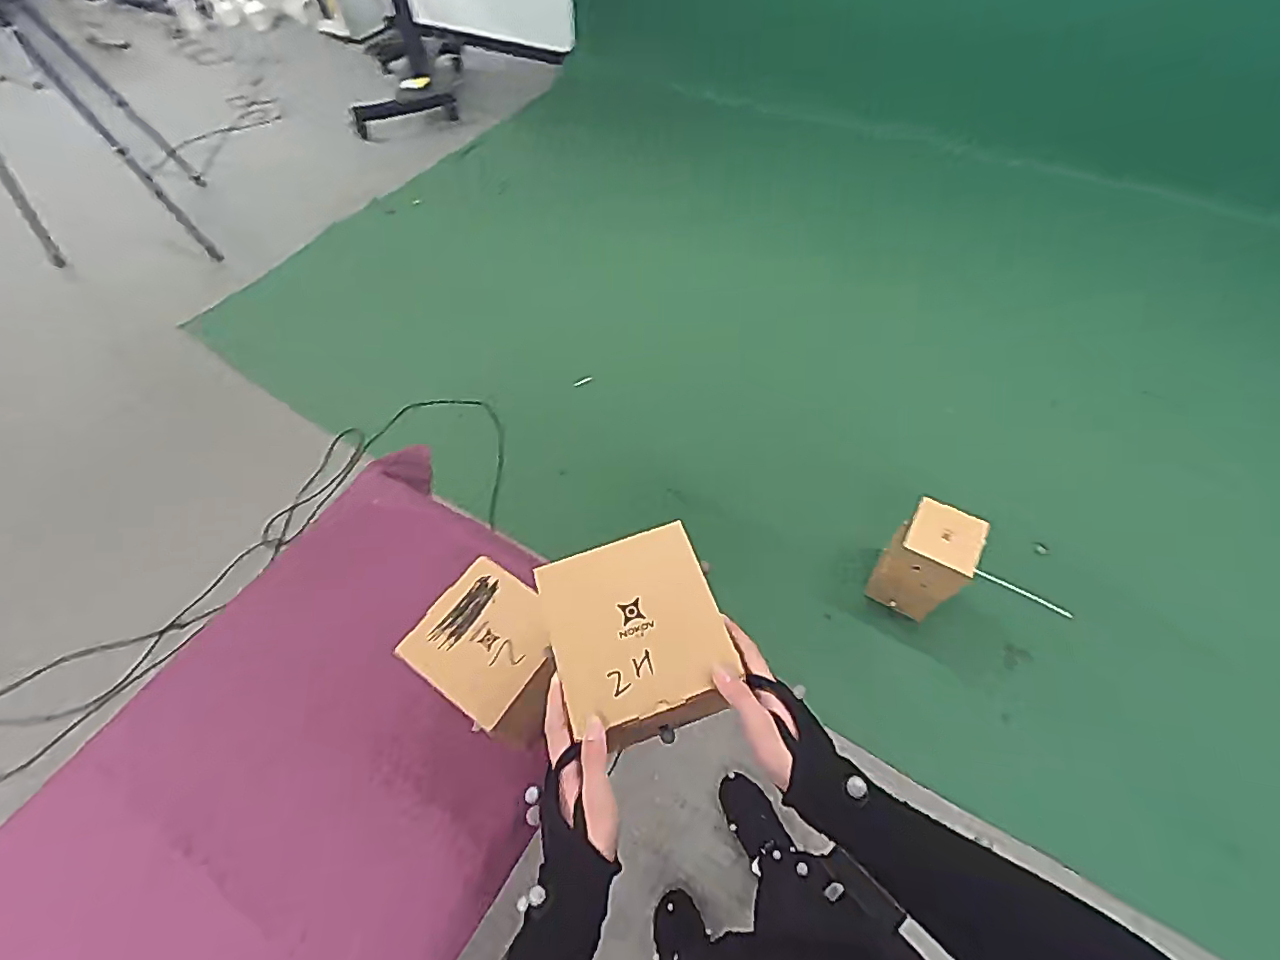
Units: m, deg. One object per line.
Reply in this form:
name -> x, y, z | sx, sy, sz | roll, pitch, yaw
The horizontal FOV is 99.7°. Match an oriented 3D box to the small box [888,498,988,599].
small box -> 0.780, 0.186, 1.432 | 0.168, 0.176, 0.179 | 26, 61, 19

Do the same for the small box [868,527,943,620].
small box -> 0.785, 0.274, 1.567 | 0.168, 0.176, 0.179 | 26, 63, 19

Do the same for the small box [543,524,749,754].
small box -> 0.004, 0.179, 0.594 | 0.168, 0.176, 0.179 | -17, 59, -5
